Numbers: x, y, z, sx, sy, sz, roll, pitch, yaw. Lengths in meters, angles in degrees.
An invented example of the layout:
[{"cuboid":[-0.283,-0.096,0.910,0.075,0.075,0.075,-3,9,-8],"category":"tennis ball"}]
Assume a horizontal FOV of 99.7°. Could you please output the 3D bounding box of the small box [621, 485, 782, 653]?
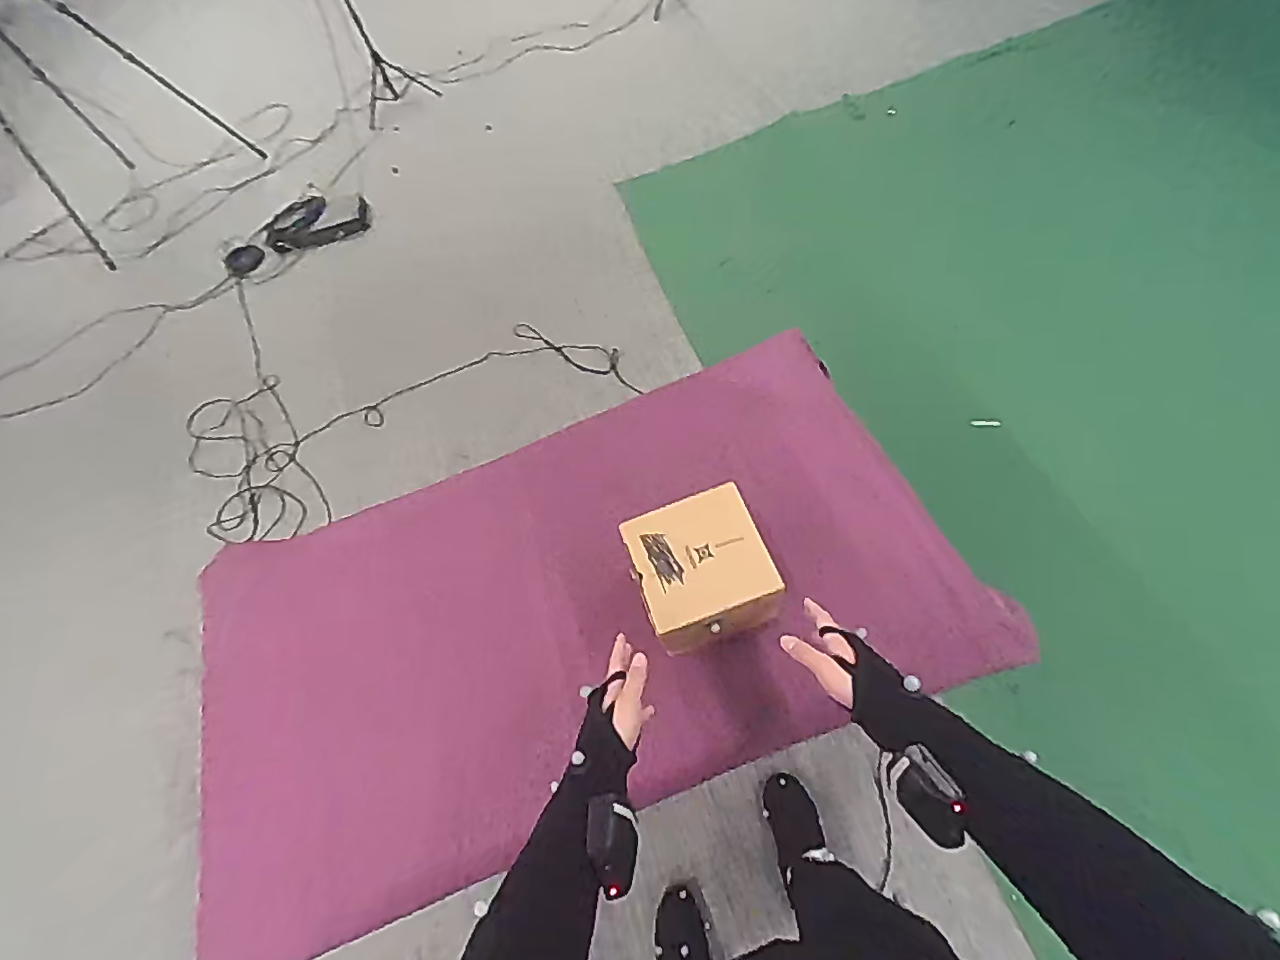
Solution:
[{"cuboid":[0.090,0.138,0.790,0.179,0.176,0.168,-20,62,-1],"category":"small box"}]
